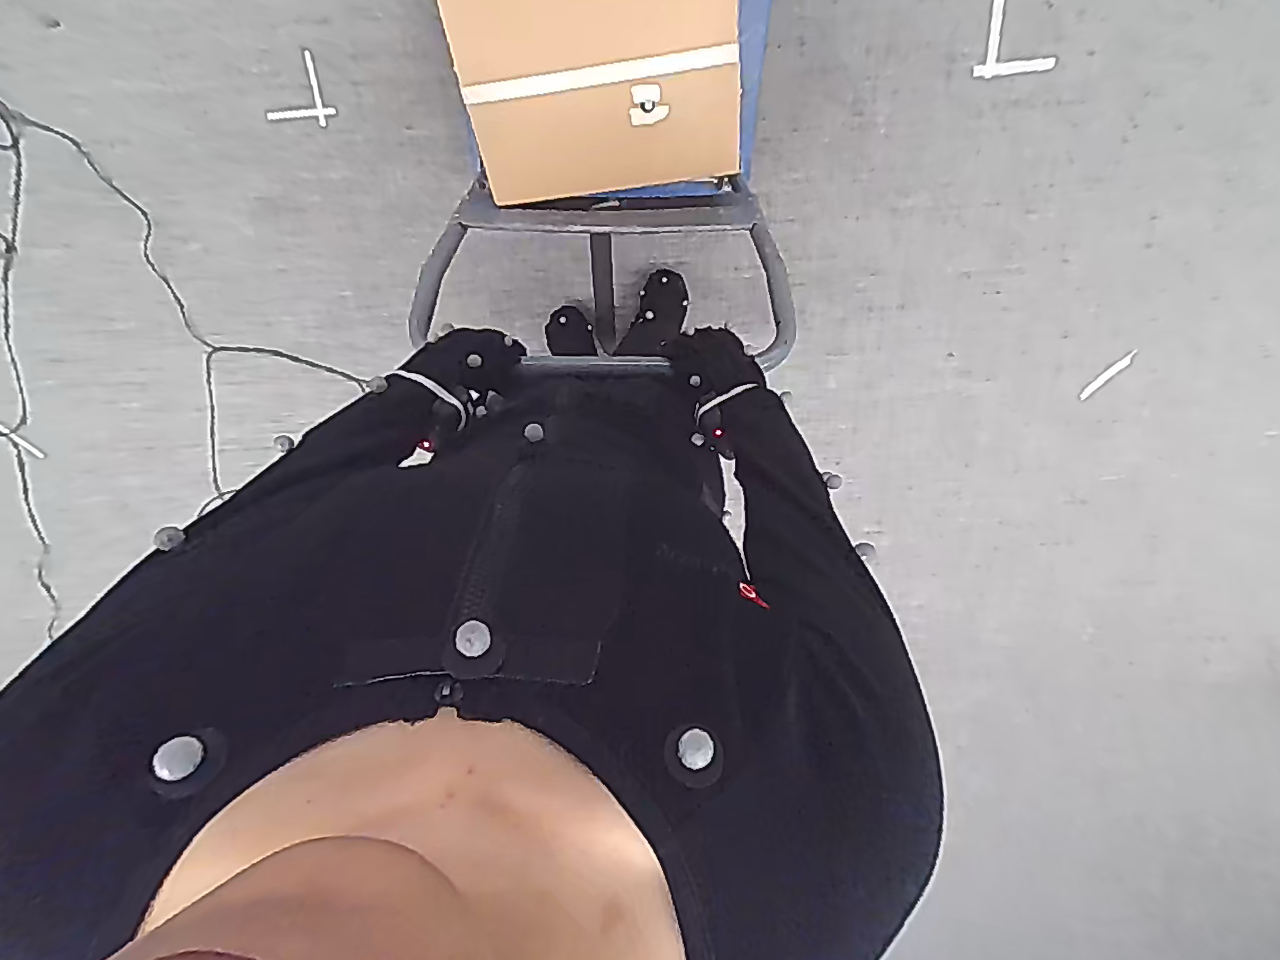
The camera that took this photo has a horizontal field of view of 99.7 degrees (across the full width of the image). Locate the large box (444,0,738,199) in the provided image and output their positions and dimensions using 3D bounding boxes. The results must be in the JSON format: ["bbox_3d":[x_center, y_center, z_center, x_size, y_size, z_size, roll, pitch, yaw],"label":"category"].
[{"bbox_3d":[-0.064,-0.706,0.901,0.408,0.320,0.320,-7,133,4],"label":"large box"}]
